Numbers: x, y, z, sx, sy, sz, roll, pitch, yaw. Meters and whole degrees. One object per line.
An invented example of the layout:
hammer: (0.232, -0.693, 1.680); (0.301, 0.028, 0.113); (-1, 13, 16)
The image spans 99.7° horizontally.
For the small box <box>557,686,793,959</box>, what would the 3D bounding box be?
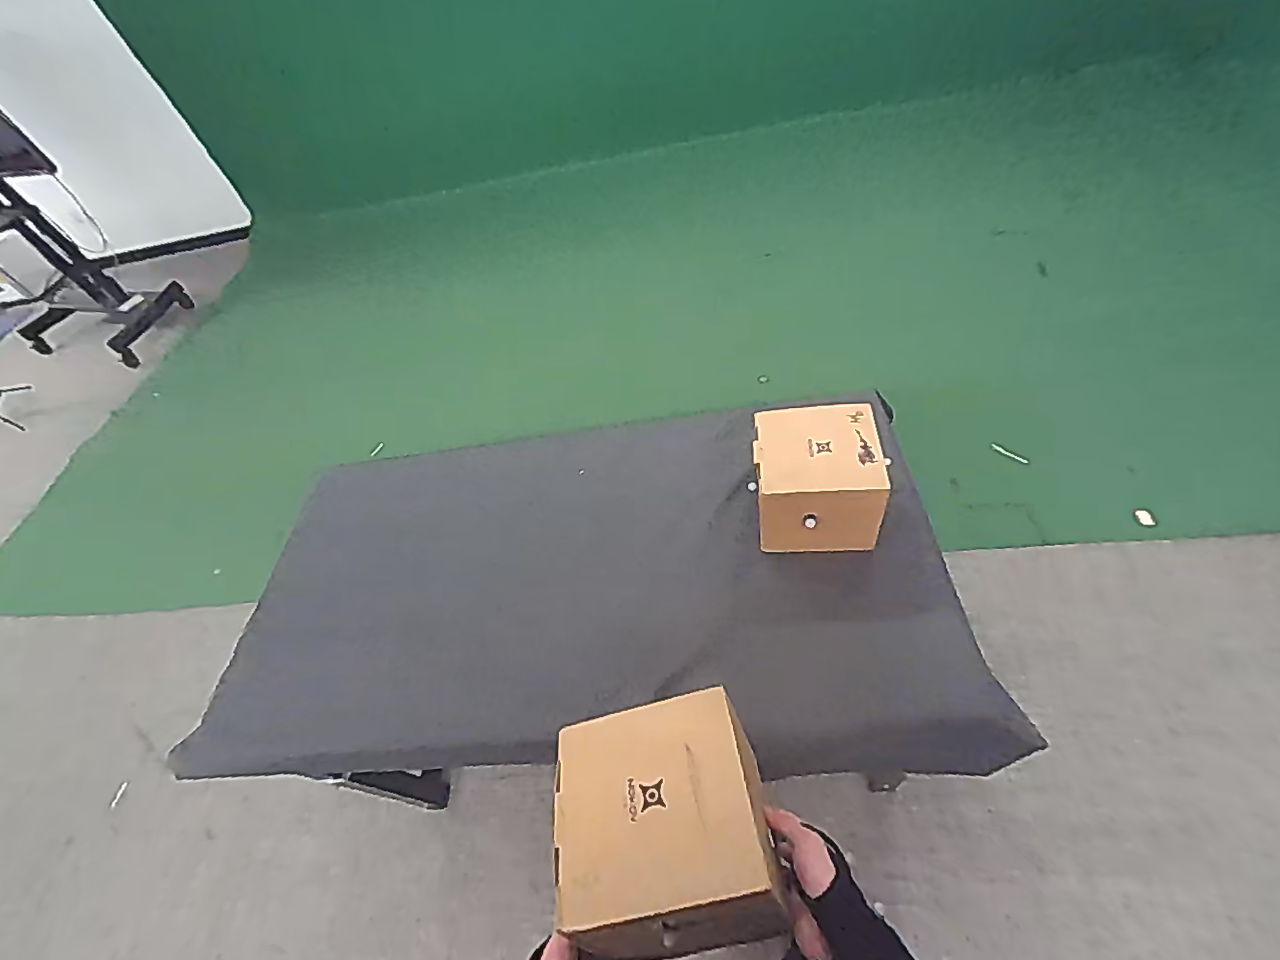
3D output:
small box: (0.033, 0.334, 0.525); (0.179, 0.176, 0.168); (-17, 40, 6)

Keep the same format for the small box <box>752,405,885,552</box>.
small box: (0.274, 0.004, 0.858); (0.179, 0.176, 0.168); (-3, 53, 12)
